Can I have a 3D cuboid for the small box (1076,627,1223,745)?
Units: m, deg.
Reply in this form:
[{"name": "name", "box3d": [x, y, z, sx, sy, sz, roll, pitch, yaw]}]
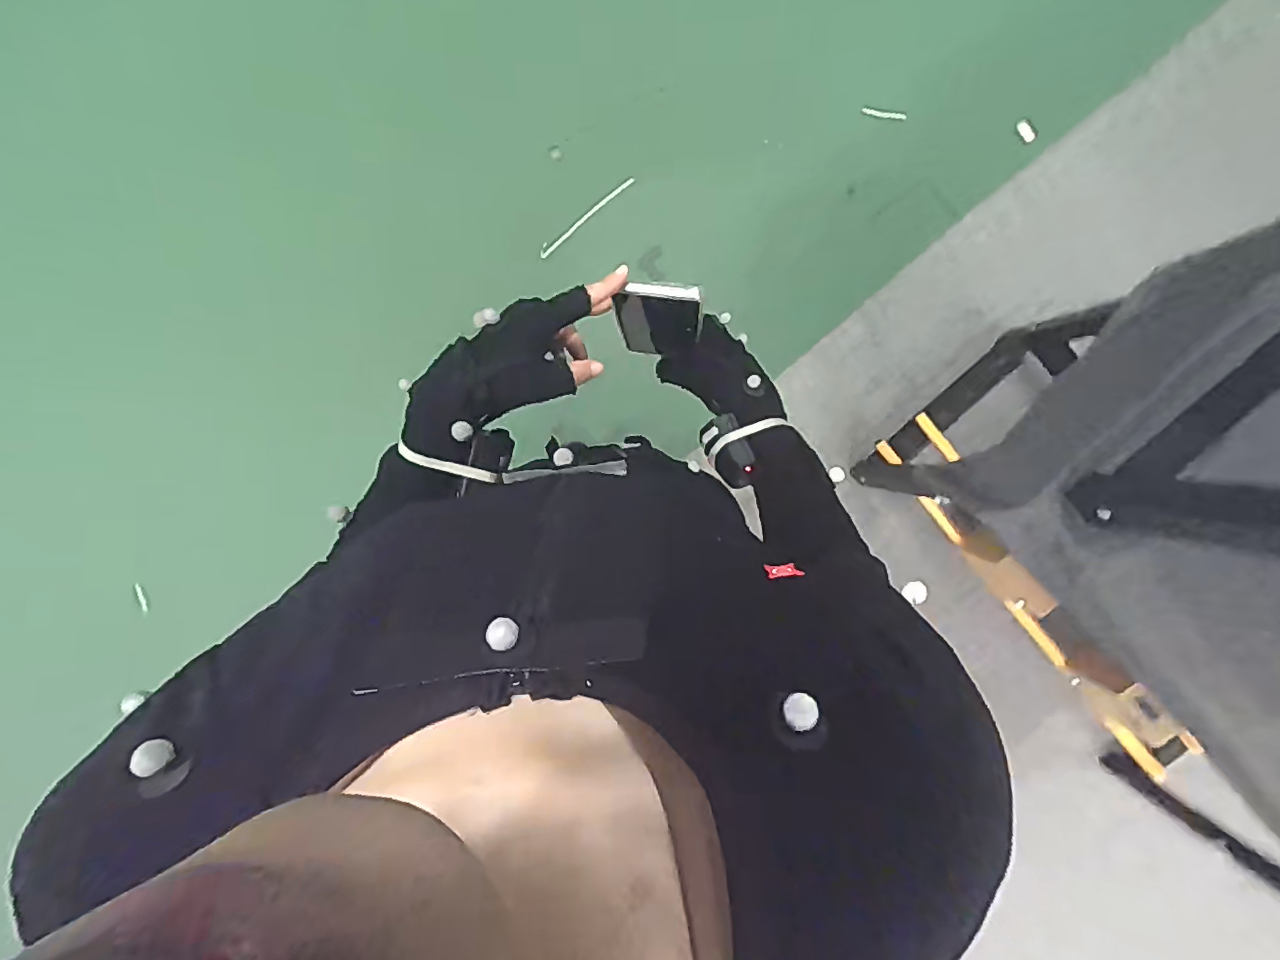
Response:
[{"name": "small box", "box3d": [1.226, 0.495, 1.322, 0.179, 0.176, 0.168, -38, 94, 3]}]
